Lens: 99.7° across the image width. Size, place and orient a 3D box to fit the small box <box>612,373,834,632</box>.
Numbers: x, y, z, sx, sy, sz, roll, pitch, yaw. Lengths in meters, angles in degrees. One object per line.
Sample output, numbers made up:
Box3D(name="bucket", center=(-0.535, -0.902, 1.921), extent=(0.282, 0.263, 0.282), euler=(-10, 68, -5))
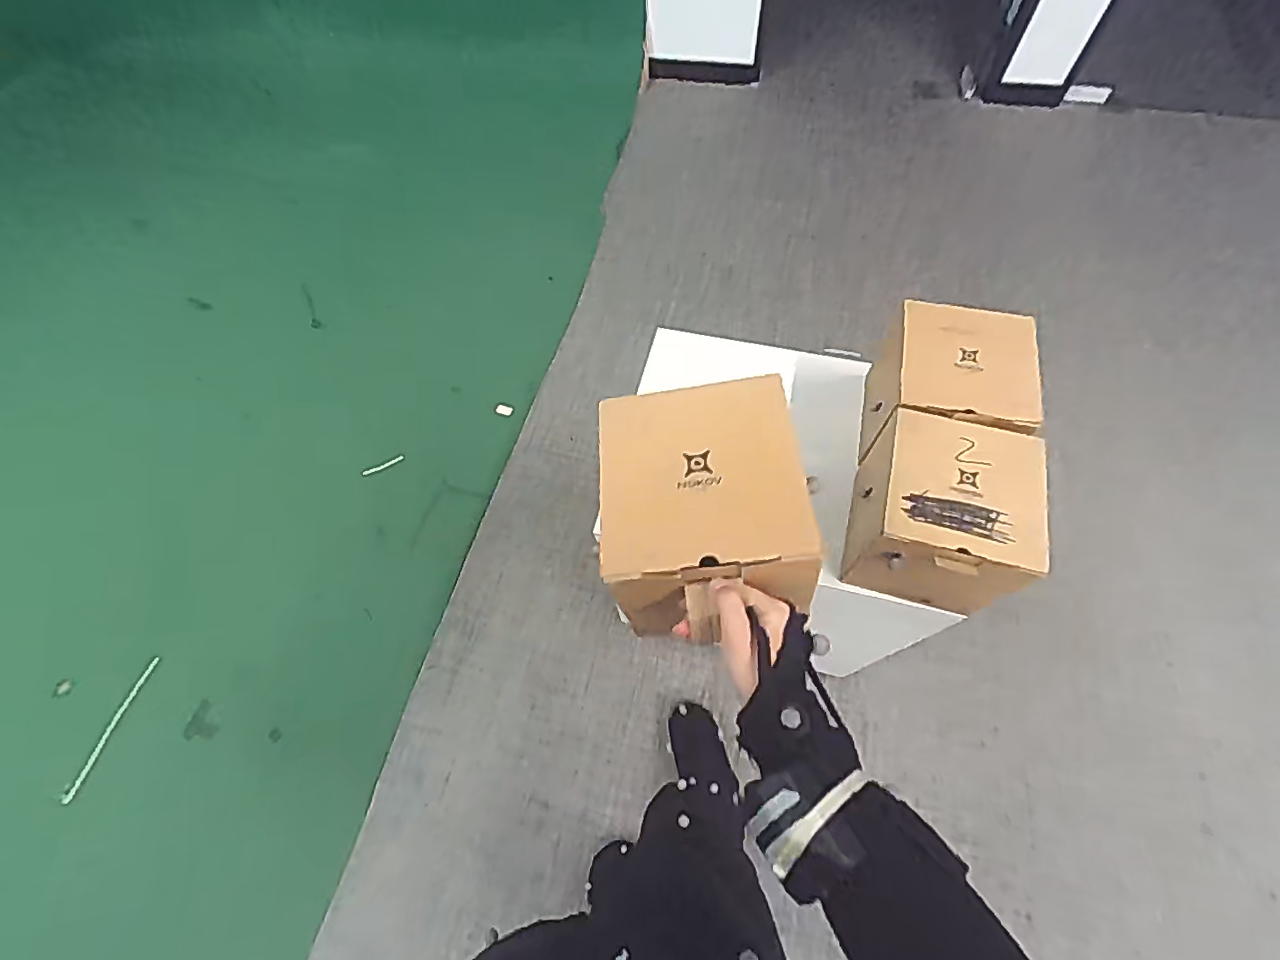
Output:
Box3D(name="small box", center=(0.070, 0.028, 0.510), extent=(0.168, 0.176, 0.179), euler=(-8, 58, 7))

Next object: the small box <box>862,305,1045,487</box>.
Box3D(name="small box", center=(0.420, -0.110, 0.752), extent=(0.168, 0.176, 0.179), euler=(11, 63, 8))
